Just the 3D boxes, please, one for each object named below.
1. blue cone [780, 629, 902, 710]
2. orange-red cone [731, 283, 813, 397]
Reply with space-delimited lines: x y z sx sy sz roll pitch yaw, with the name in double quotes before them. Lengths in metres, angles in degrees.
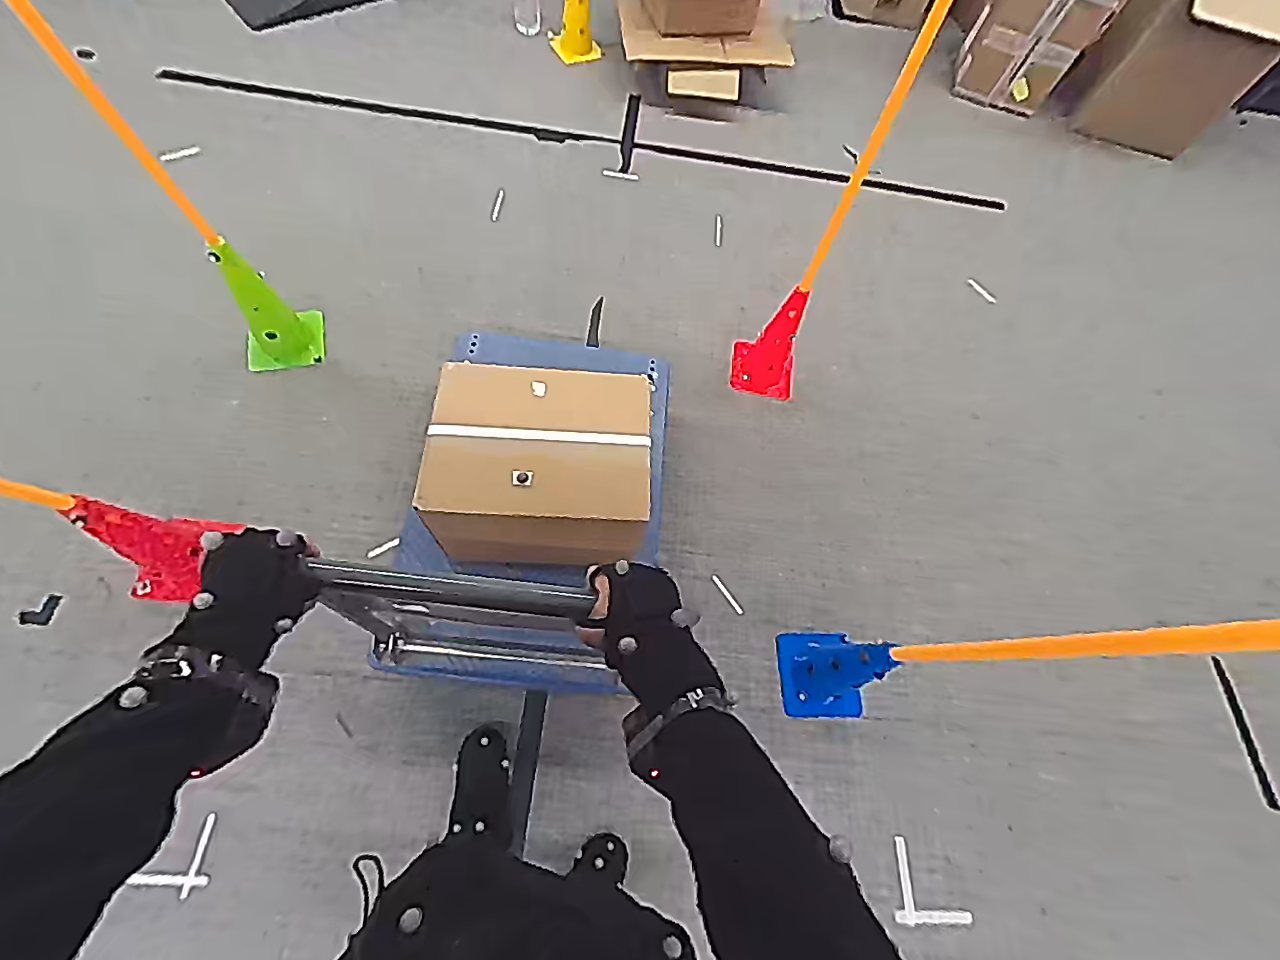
"blue cone" 0.471 0.400 1.206 0.193 0.380 0.192 3 64 -6
"orange-red cone" 0.418 -0.432 1.573 0.199 0.360 0.198 13 65 -2
